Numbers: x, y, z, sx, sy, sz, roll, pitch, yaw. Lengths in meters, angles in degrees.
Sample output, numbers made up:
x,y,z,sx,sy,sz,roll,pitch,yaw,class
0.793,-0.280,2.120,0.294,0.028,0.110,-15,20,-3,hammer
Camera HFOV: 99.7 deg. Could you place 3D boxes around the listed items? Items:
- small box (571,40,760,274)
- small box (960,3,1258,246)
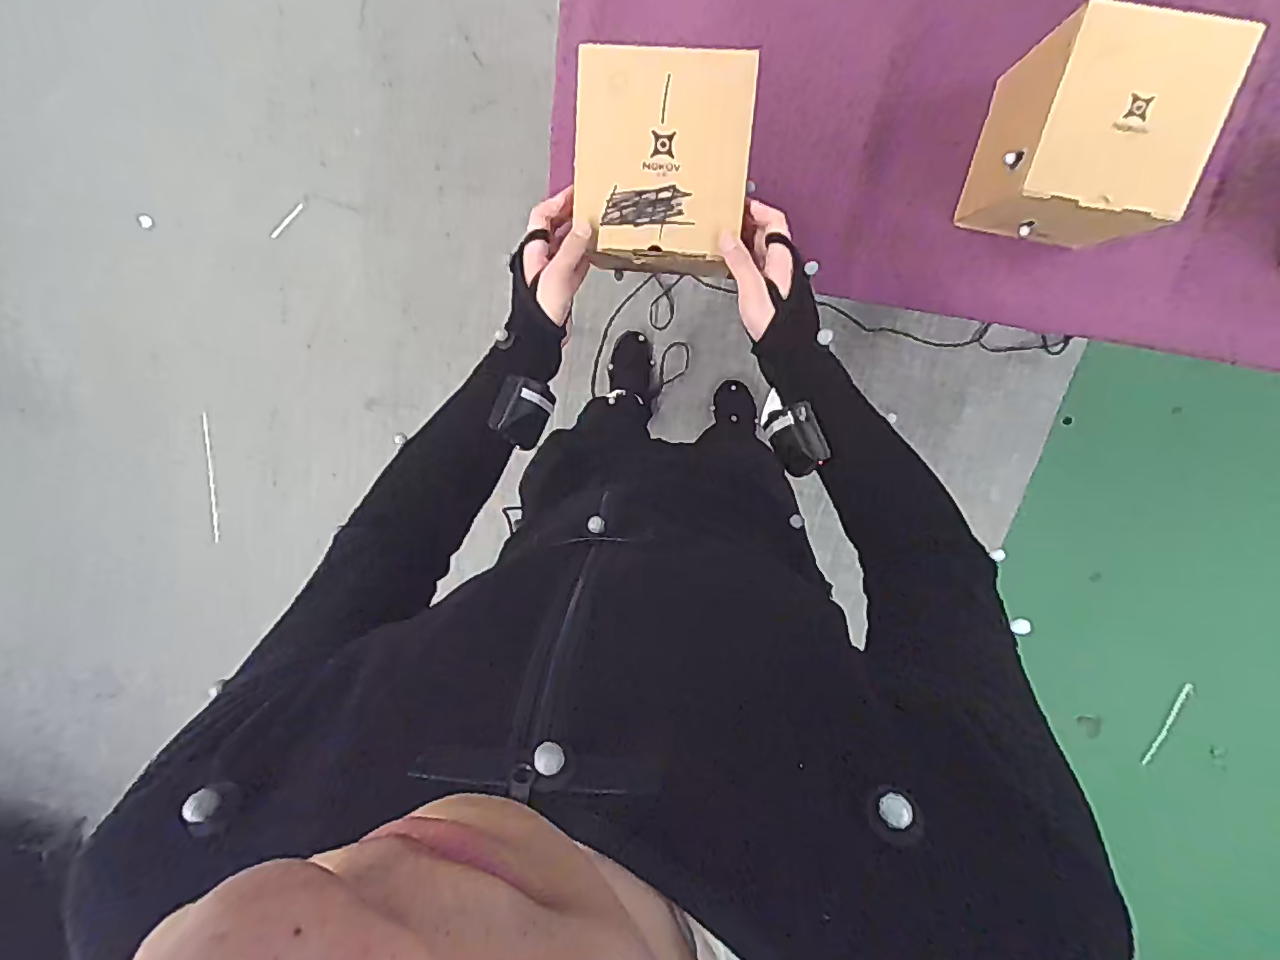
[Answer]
x,y,z,sx,sy,sz,roll,pitch,yaw,class
0.027,-0.326,0.583,0.168,0.176,0.179,6,104,3,small box
0.505,-0.385,0.619,0.168,0.176,0.179,12,107,3,small box
